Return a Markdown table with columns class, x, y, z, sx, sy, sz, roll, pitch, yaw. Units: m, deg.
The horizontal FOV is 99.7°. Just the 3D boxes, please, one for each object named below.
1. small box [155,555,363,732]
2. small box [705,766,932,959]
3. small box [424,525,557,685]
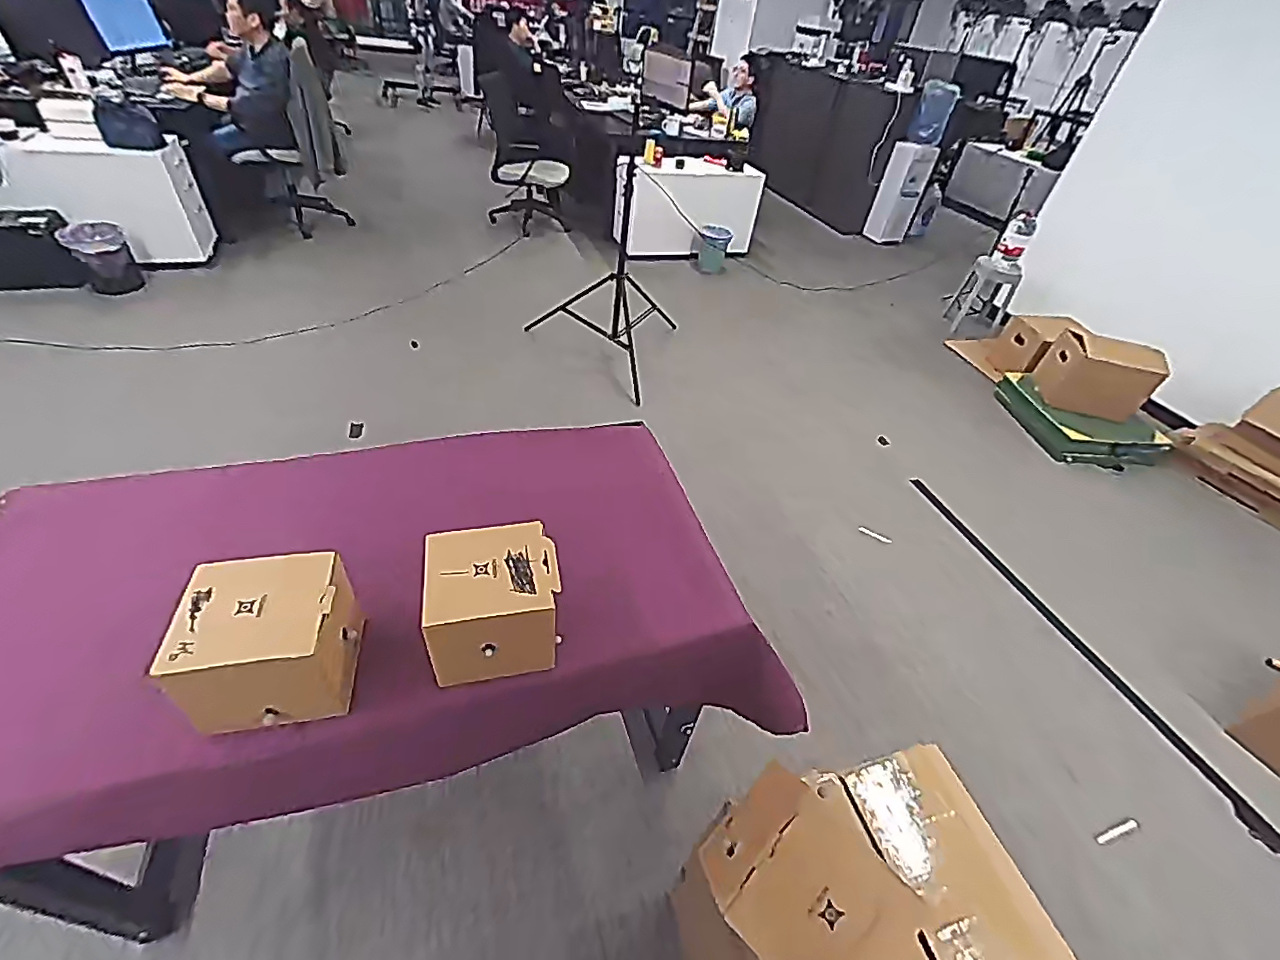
| class | x | y | z | sx | sy | sz | roll | pitch | yaw |
| --- | --- | --- | --- | --- | --- | --- | --- | --- | --- |
| small box | -0.503 | 0.226 | 0.753 | 0.179 | 0.176 | 0.168 | -4 | 43 | -14 |
| small box | 0.201 | 0.485 | 0.666 | 0.179 | 0.176 | 0.168 | 42 | 78 | 7 |
| small box | -0.226 | 0.192 | 0.836 | 0.179 | 0.176 | 0.168 | -5 | 43 | -14 |
